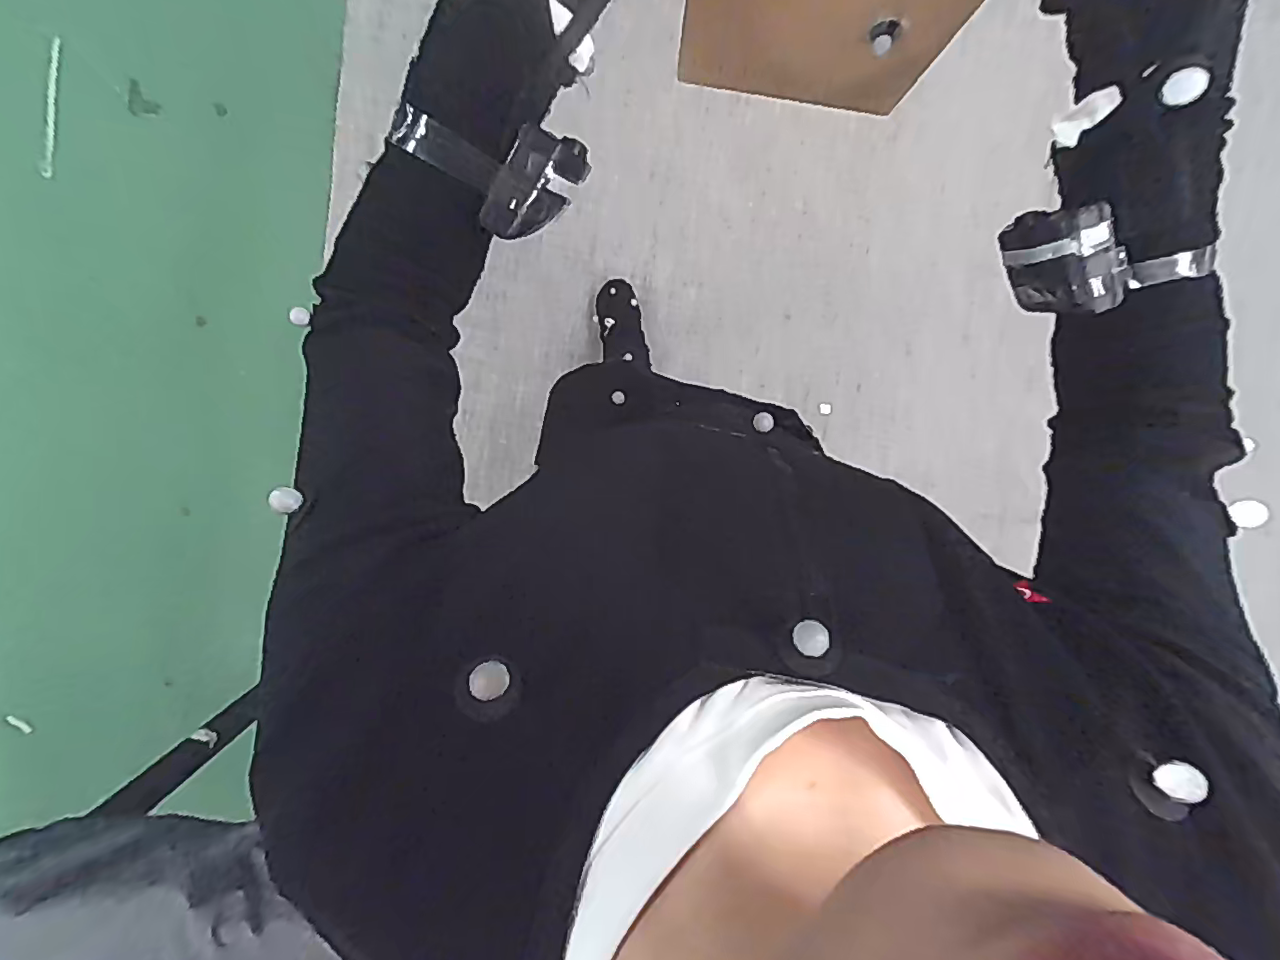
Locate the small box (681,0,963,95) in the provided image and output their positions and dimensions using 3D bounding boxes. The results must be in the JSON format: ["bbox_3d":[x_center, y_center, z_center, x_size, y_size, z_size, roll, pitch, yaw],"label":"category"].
[{"bbox_3d":[0.128,-0.386,0.345,0.179,0.176,0.168,7,96,-1],"label":"small box"}]
